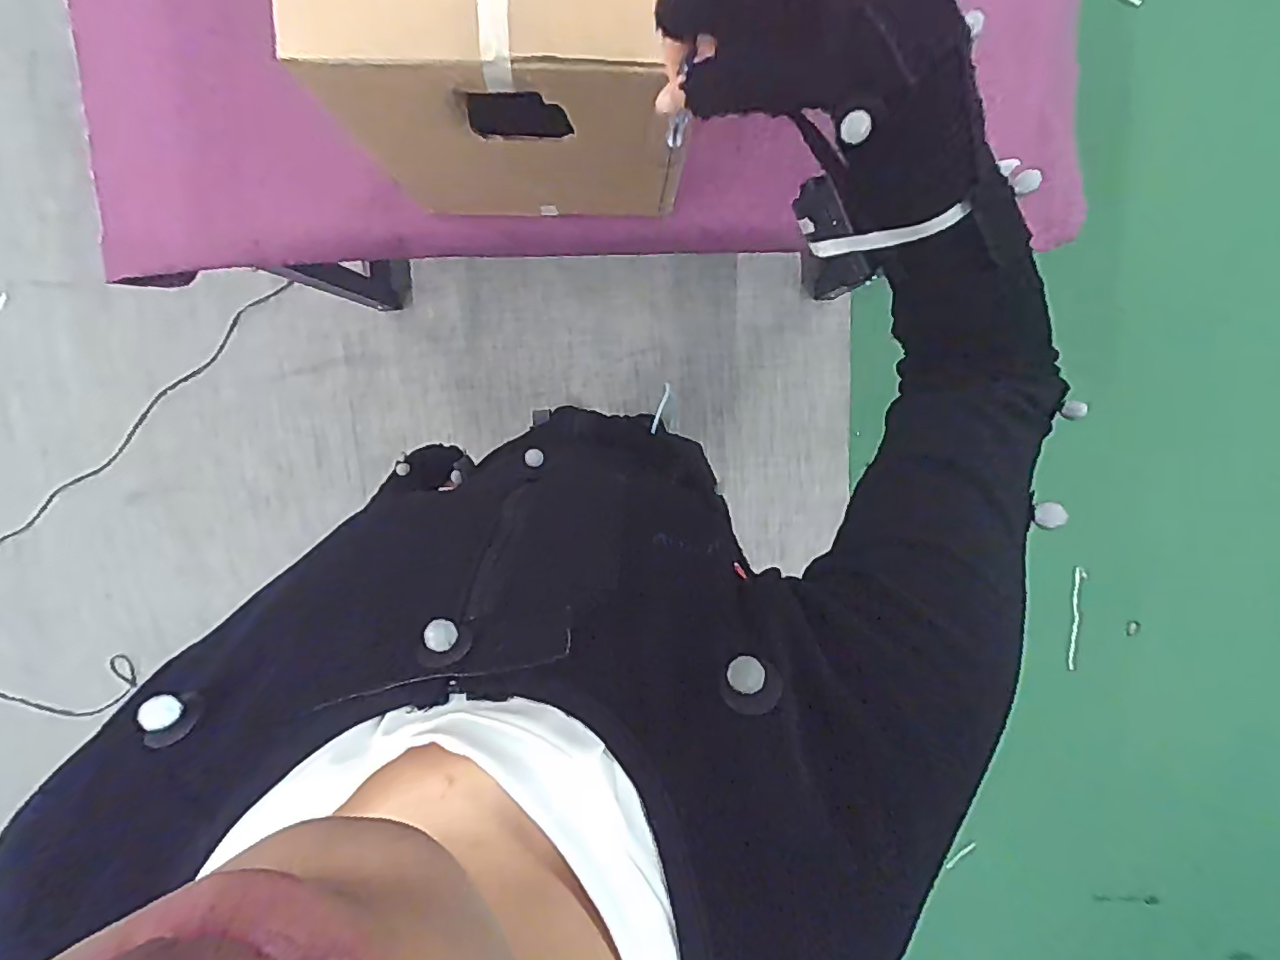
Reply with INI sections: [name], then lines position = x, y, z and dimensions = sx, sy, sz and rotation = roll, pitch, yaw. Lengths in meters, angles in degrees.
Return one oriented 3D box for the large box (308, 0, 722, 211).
[large box]
position = -0.099, -0.527, 0.525
dimensions = 0.320, 0.320, 0.408
rotation = 1, 99, -2
